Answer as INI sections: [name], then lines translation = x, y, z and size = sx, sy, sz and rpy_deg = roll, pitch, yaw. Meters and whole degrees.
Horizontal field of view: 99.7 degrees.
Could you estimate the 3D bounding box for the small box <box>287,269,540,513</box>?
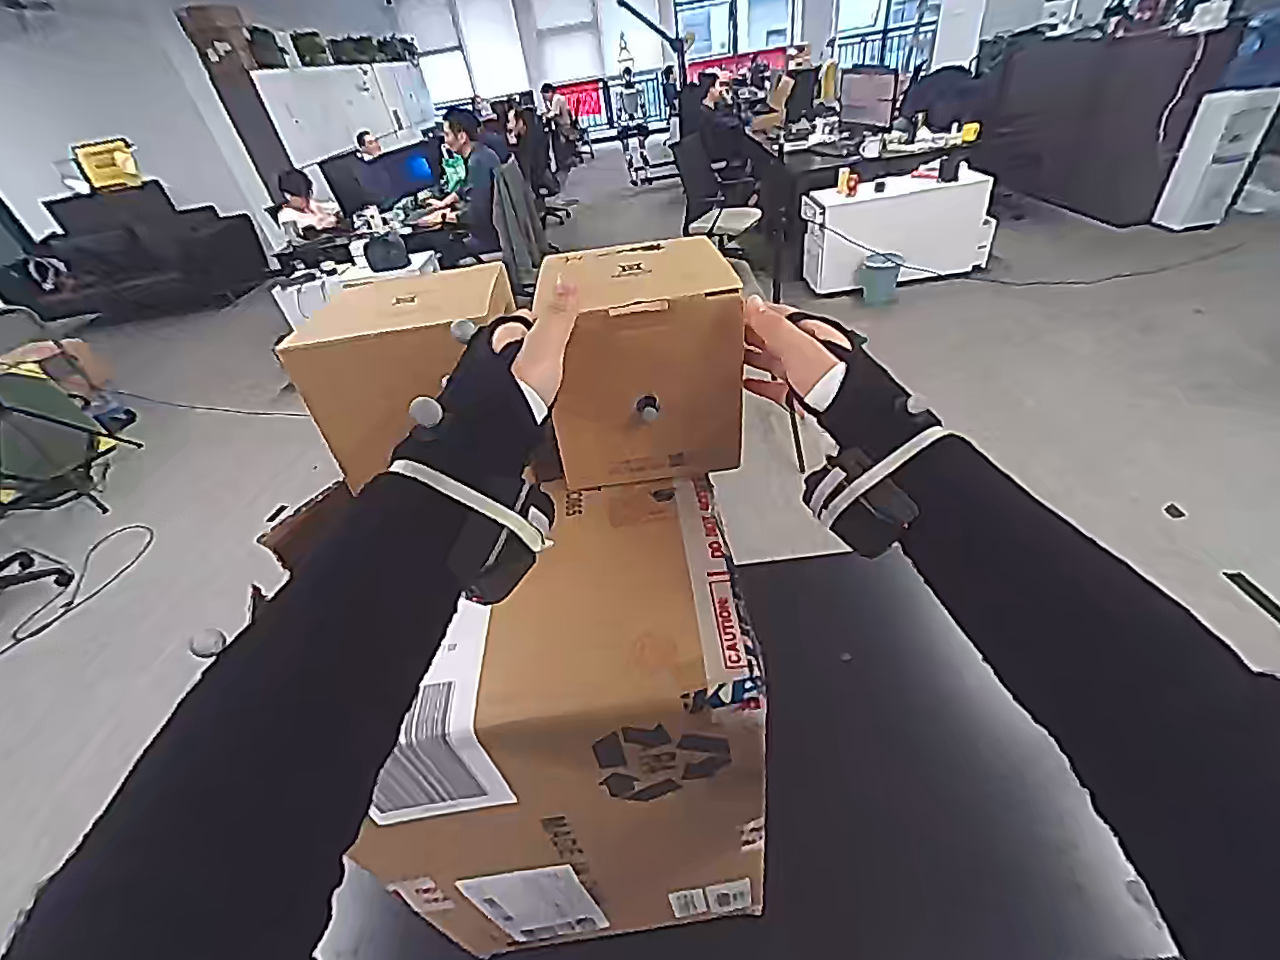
[small box]
translation = -0.200, -0.092, 0.541
size = 0.168, 0.176, 0.179
rpy_deg = -11, 37, -2
